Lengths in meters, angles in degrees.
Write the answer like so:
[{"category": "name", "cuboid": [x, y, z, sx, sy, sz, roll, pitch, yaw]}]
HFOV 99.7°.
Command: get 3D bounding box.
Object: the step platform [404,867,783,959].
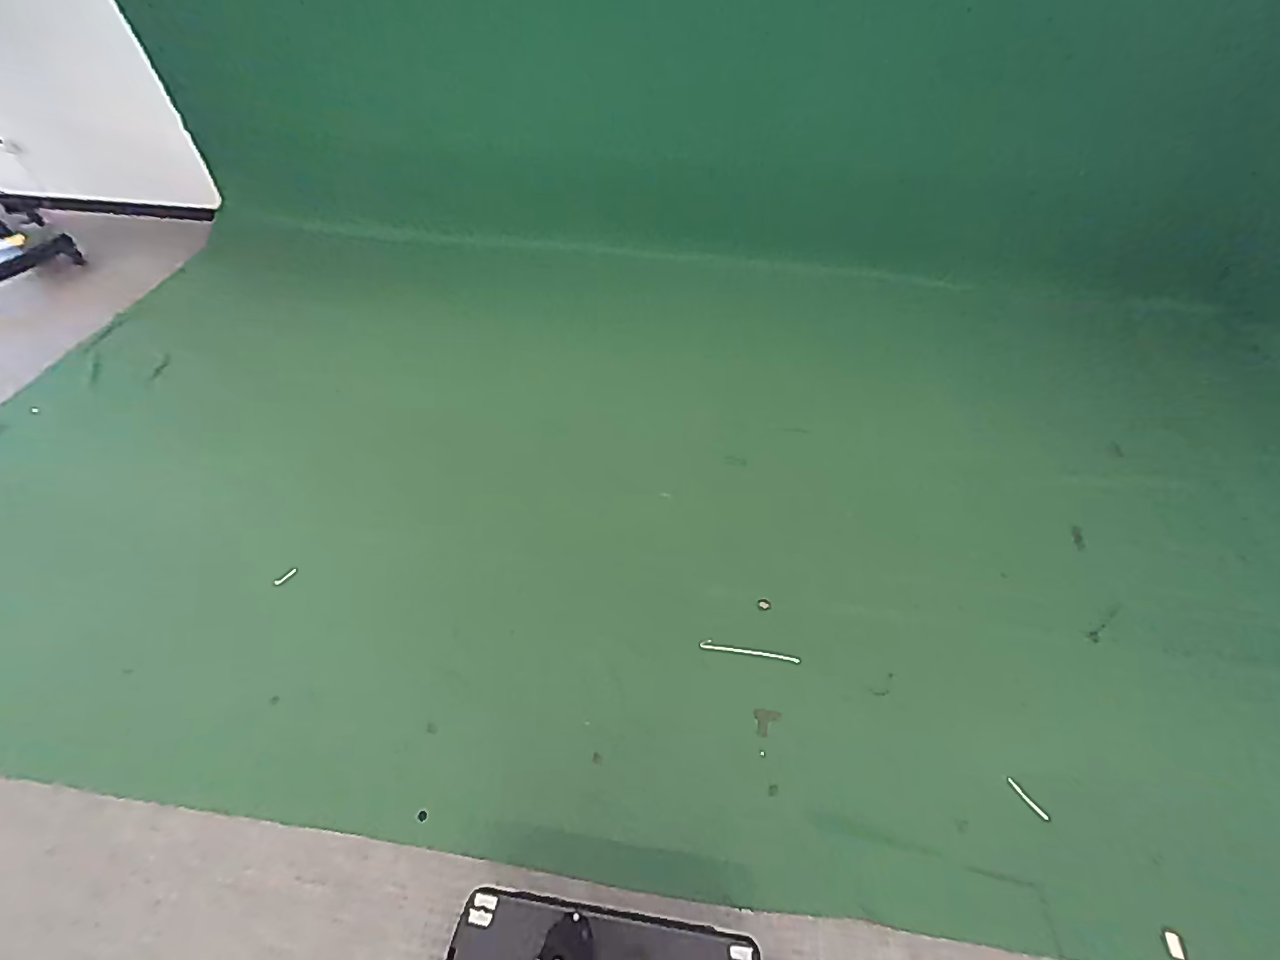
[{"category": "step platform", "cuboid": [-0.086, 0.947, 1.006, 0.684, 0.204, 0.286, 6, 51, 5]}]
